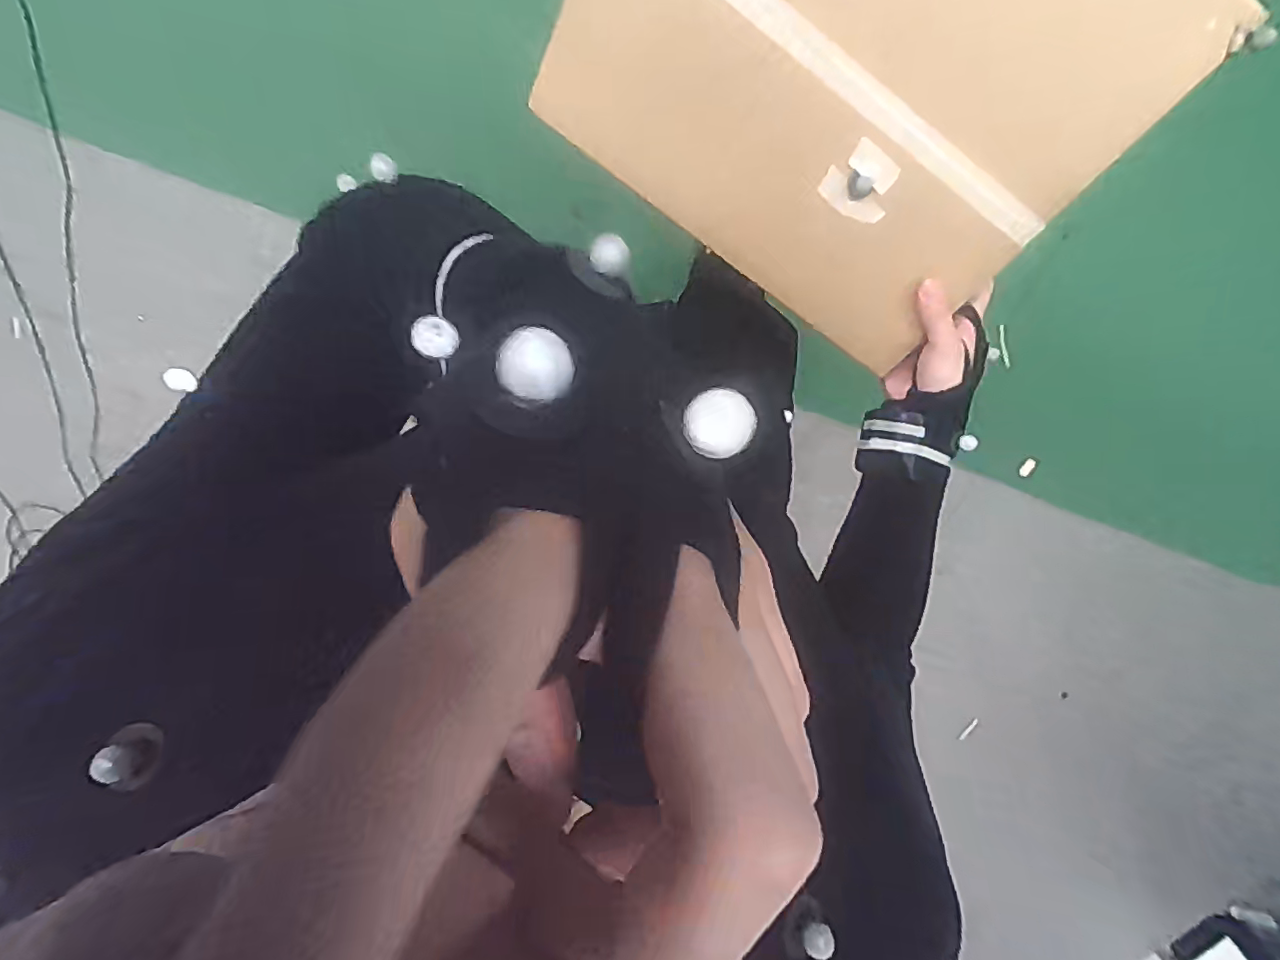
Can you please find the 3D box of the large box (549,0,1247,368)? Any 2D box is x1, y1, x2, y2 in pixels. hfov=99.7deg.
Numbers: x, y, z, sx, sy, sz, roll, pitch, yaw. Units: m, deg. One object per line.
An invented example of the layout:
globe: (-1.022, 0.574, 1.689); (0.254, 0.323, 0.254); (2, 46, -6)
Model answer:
large box: (0.189, -0.390, 0.532); (0.408, 0.320, 0.320); (32, 128, -9)
